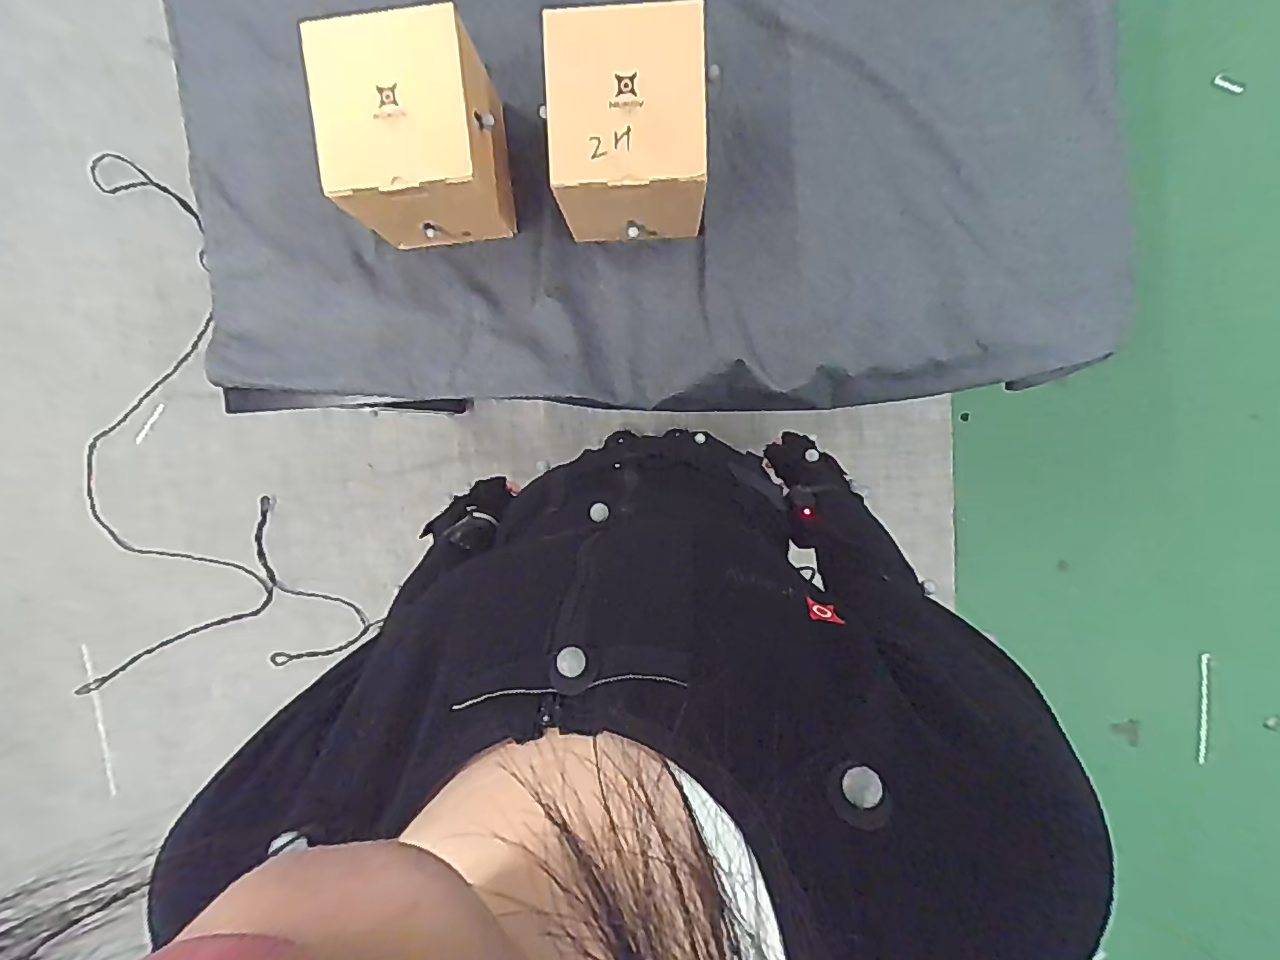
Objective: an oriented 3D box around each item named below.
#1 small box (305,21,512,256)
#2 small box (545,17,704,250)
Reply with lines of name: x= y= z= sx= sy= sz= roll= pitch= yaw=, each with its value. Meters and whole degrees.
small box: x=-0.262 y=-0.392 z=0.651 sx=0.168 sy=0.176 sz=0.179 roll=-5 pitch=95 yaw=2
small box: x=-0.014 y=-0.391 z=0.639 sx=0.168 sy=0.176 sz=0.179 roll=-1 pitch=95 yaw=2
